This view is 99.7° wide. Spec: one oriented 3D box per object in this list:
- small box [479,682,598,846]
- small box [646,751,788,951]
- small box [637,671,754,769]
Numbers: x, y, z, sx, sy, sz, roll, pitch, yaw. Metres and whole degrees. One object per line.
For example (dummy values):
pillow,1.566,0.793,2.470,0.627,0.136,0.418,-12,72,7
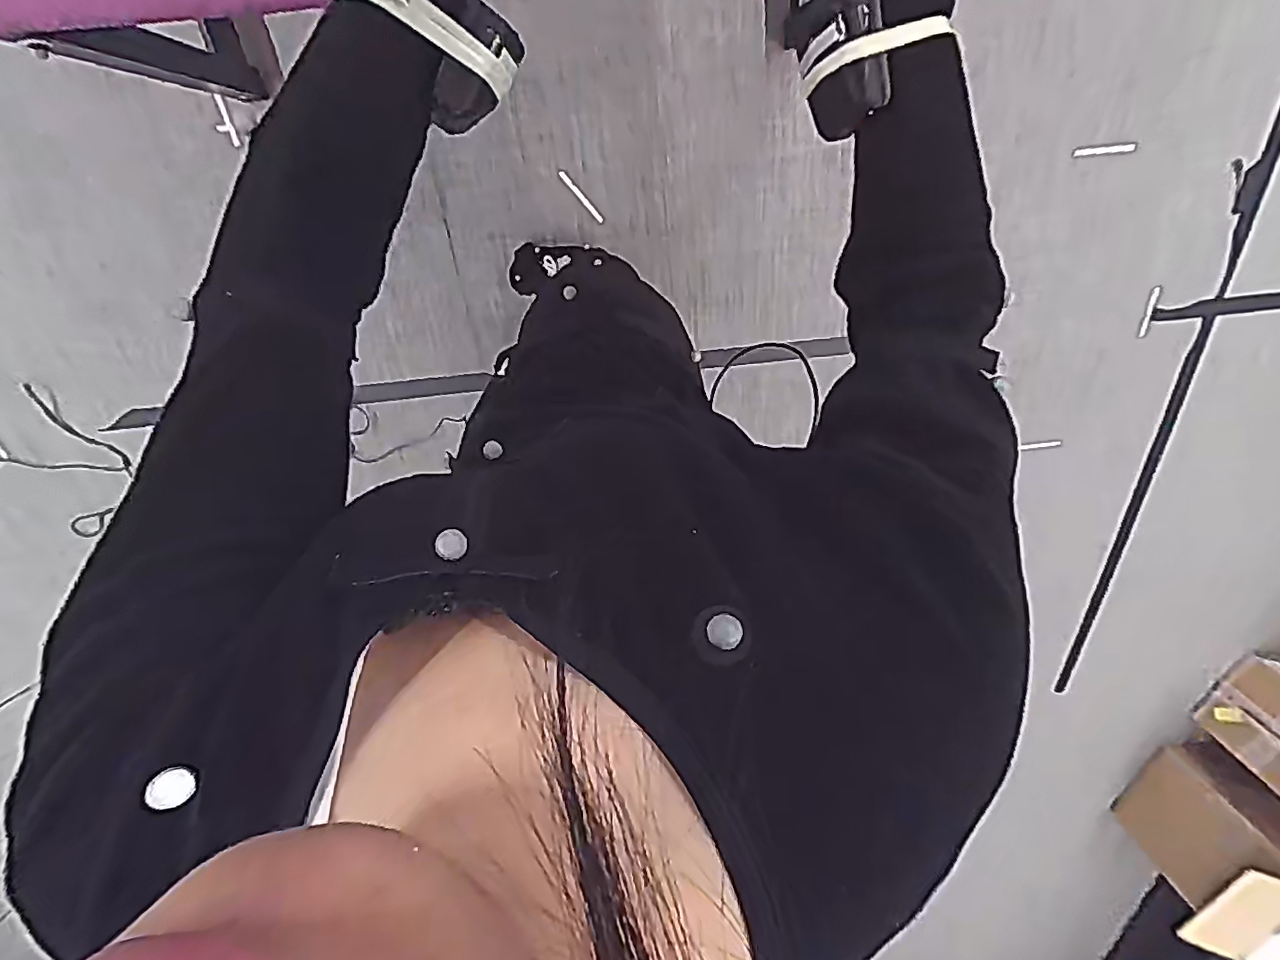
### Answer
small box,-0.157,0.466,0.900,0.168,0.176,0.179,-5,118,-4
small box,0.103,0.525,0.775,0.168,0.176,0.179,-8,119,-3
small box,0.089,0.445,0.916,0.168,0.176,0.179,-7,120,-2
